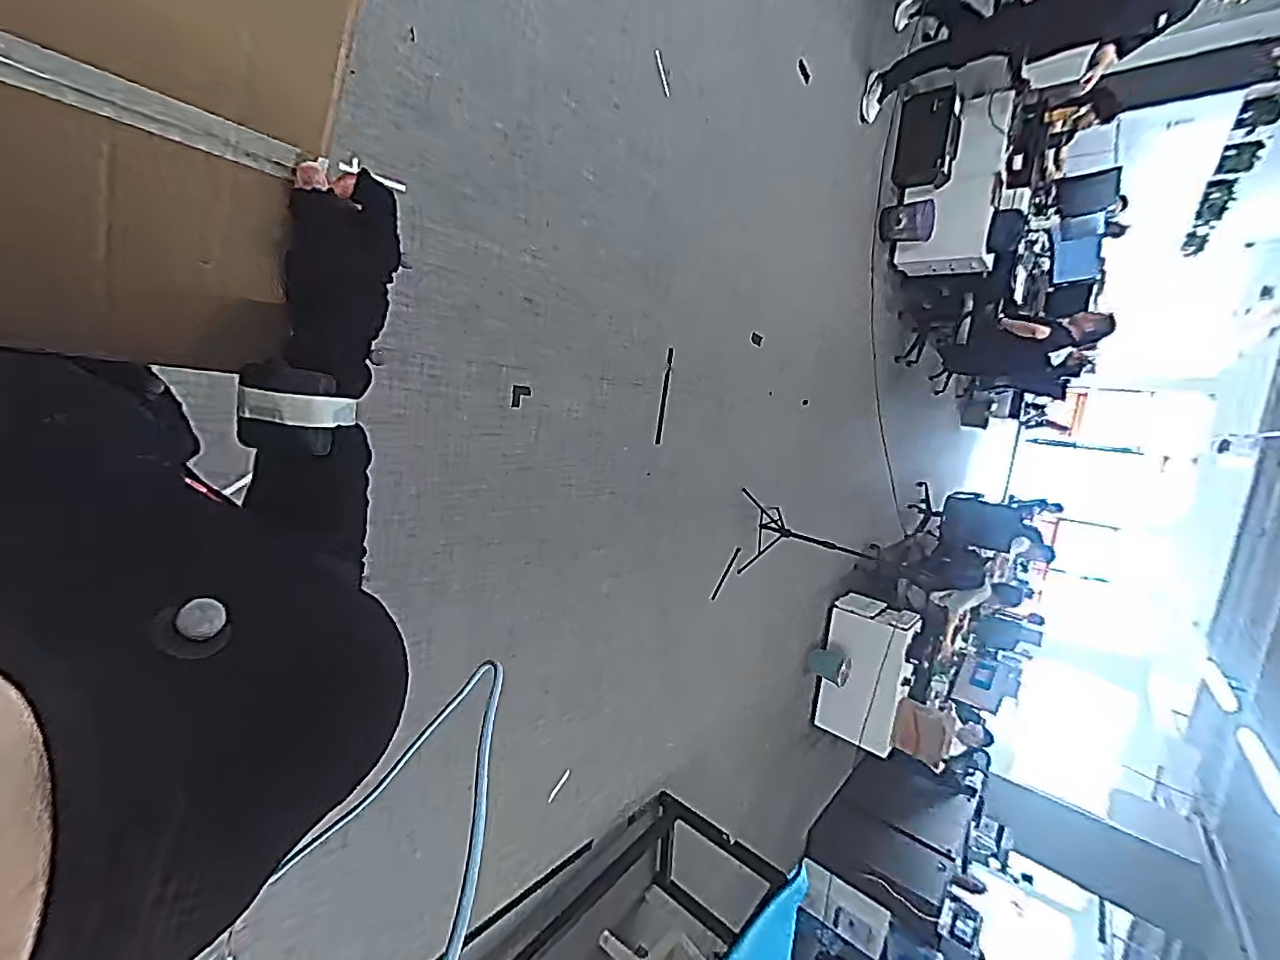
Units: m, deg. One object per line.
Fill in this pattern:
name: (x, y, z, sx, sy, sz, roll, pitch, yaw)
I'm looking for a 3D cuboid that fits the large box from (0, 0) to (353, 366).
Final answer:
large box: (-0.436, -0.295, 0.294, 0.408, 0.320, 0.320, -1, 131, -48)
